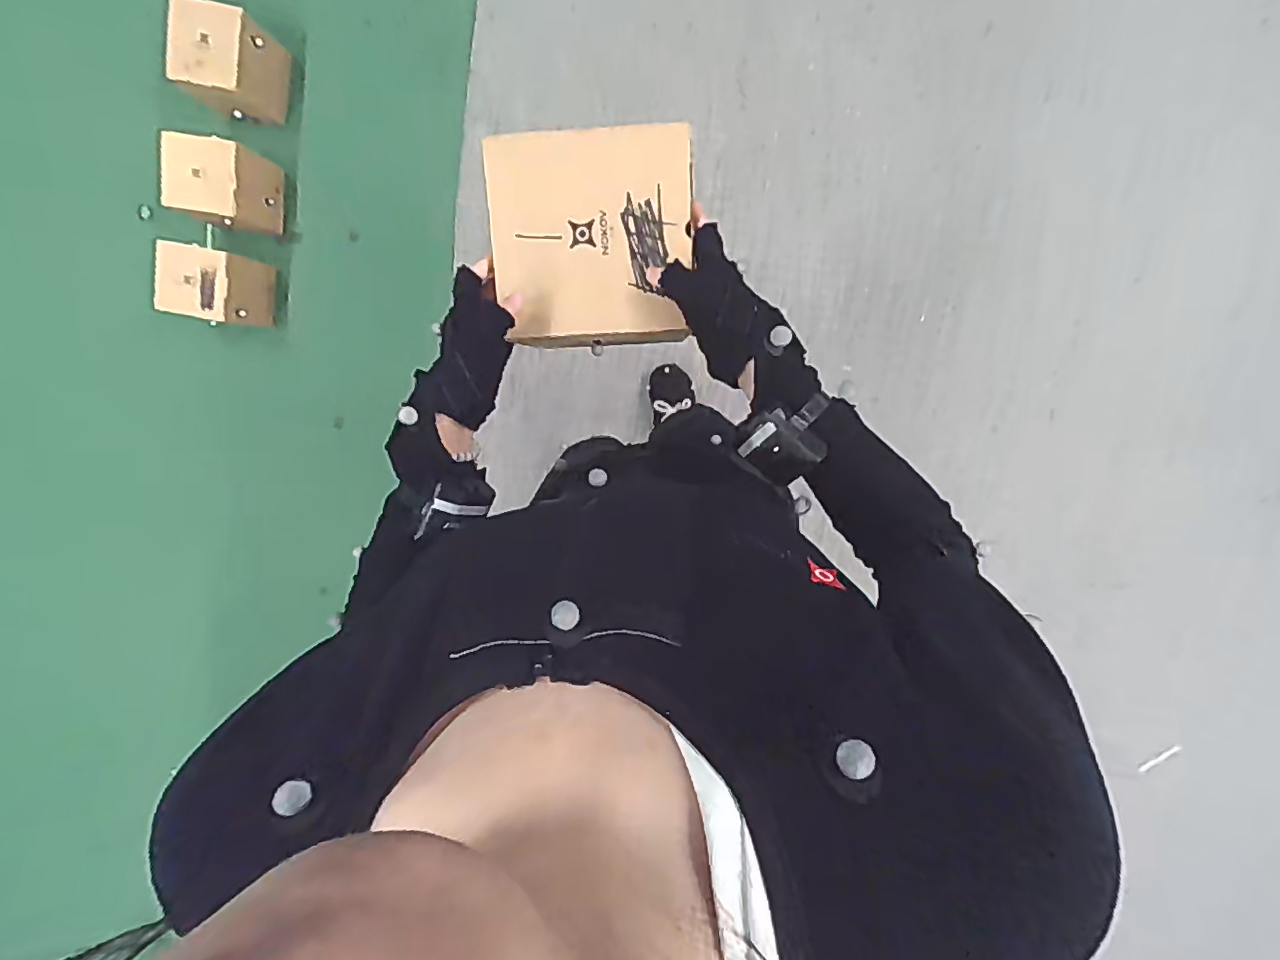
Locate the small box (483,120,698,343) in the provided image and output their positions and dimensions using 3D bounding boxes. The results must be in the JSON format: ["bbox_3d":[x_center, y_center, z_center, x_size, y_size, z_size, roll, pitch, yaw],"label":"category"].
[{"bbox_3d":[-0.040,-0.228,0.536,0.179,0.176,0.168,-3,101,1],"label":"small box"}]

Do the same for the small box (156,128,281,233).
[{"bbox_3d":[-1.027,-0.724,1.326,0.179,0.176,0.168,9,99,-1],"label":"small box"}]

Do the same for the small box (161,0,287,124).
[{"bbox_3d":[-0.975,-0.991,1.281,0.168,0.176,0.179,11,99,0],"label":"small box"}]
